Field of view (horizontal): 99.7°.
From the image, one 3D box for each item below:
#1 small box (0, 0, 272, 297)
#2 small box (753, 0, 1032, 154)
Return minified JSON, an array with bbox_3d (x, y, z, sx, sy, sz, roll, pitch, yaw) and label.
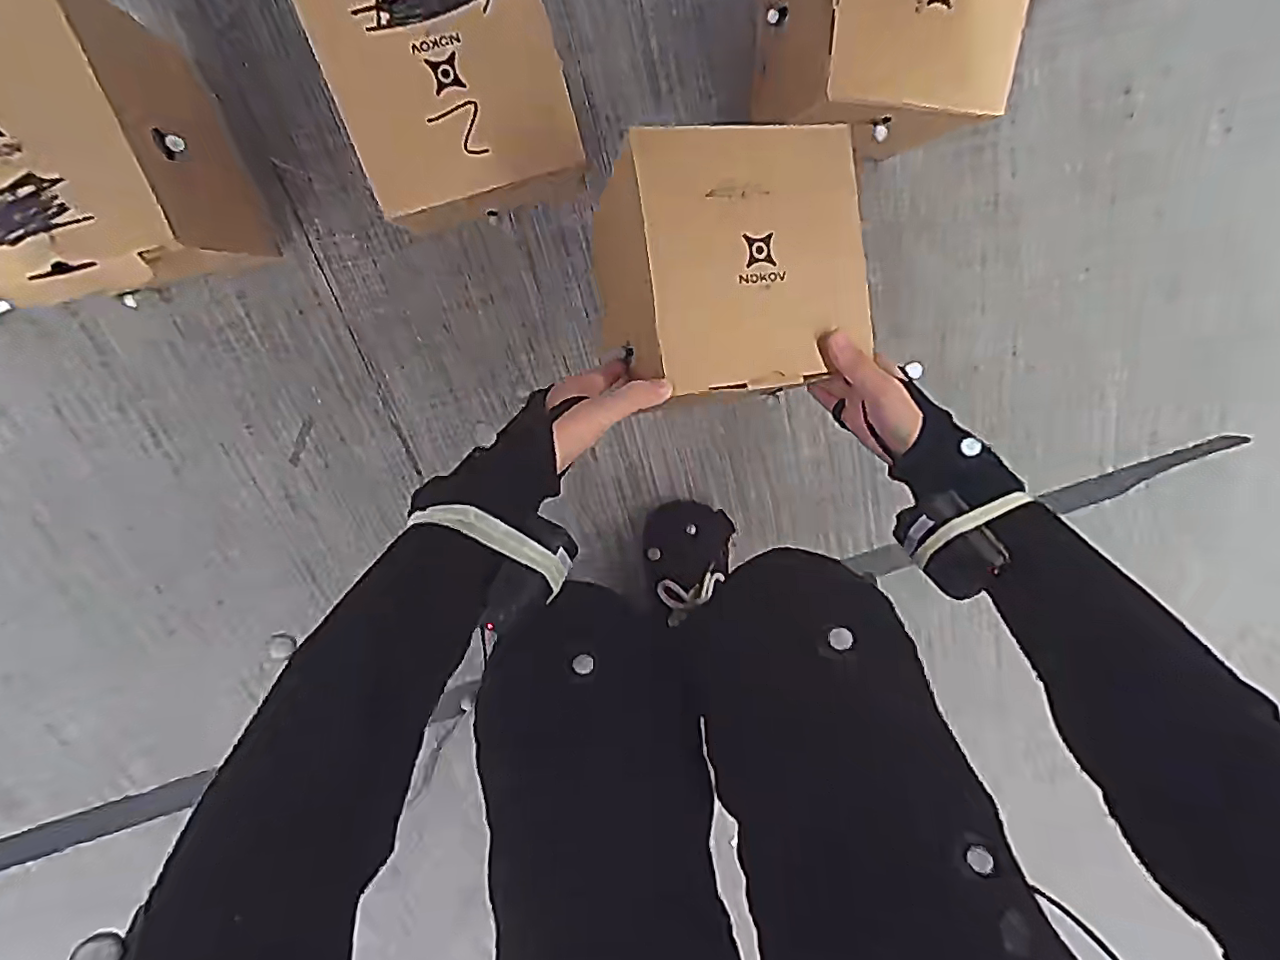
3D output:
[{"bbox_3d":[-0.440,-0.253,0.428,0.168,0.176,0.179,-17,111,-6],"label":"small box"},{"bbox_3d":[0.226,-0.420,0.507,0.179,0.176,0.168,-2,110,-10],"label":"small box"}]
